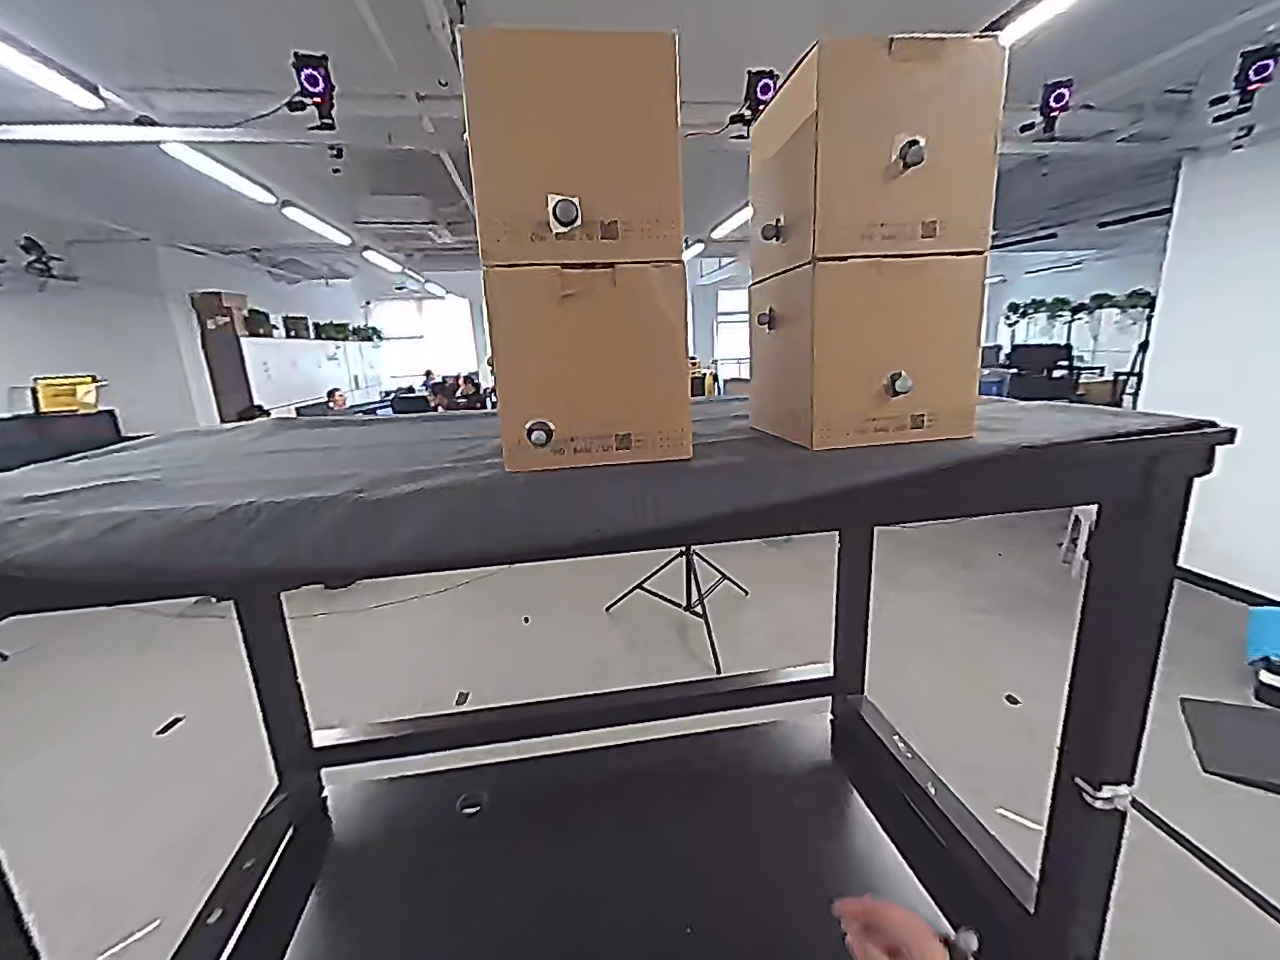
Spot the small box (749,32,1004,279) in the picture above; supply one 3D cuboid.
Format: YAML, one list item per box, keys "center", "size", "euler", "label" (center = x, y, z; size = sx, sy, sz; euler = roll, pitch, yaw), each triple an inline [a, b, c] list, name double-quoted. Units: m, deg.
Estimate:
- center: [0.214, -0.296, 0.532]
  size: [0.168, 0.176, 0.179]
  euler: [-5, 14, -6]
  label: "small box"

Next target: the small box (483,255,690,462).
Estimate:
- center: [-0.050, -0.112, 0.530]
  size: [0.168, 0.176, 0.179]
  euler: [-5, 12, -8]
  label: "small box"

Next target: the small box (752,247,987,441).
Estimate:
- center: [0.222, -0.136, 0.568]
  size: [0.168, 0.176, 0.179]
  euler: [-6, 13, -7]
  label: "small box"

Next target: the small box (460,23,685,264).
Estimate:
- center: [-0.057, -0.271, 0.497]
  size: [0.168, 0.176, 0.179]
  euler: [-6, 13, -7]
  label: "small box"
